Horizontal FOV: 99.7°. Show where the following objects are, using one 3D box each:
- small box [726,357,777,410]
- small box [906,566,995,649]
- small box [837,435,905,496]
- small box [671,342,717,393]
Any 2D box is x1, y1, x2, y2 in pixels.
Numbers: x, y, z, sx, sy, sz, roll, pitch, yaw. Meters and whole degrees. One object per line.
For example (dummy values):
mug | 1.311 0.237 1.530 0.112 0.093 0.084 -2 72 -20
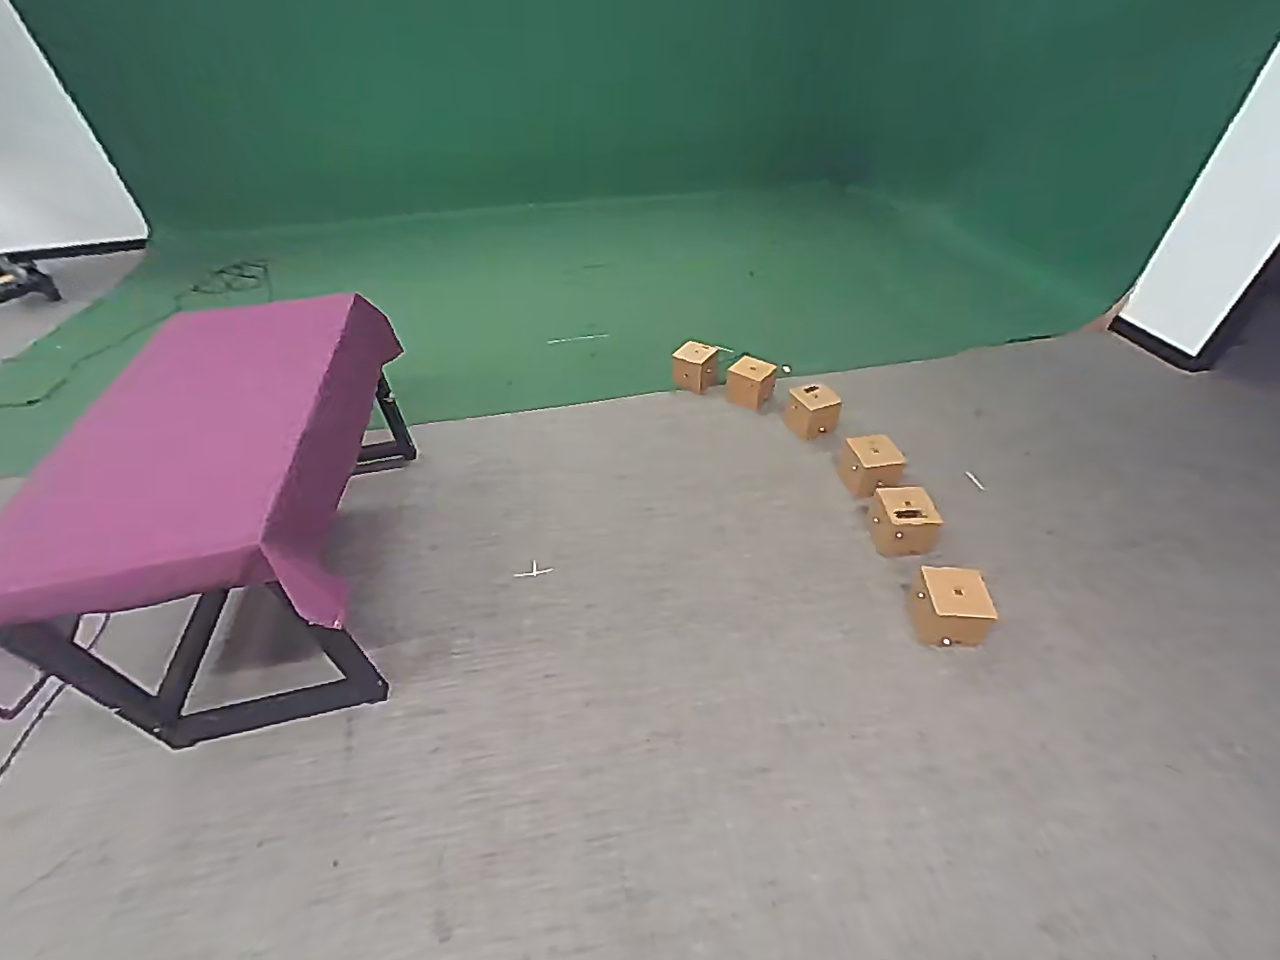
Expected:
small box | 0.523 -0.454 2.565 0.179 0.176 0.168 28 51 29
small box | 0.928 0.386 1.636 0.168 0.176 0.179 3 44 7
small box | 0.891 -0.050 2.103 0.168 0.176 0.179 -7 43 -5
small box | 0.271 -0.558 2.688 0.168 0.176 0.179 24 50 26
